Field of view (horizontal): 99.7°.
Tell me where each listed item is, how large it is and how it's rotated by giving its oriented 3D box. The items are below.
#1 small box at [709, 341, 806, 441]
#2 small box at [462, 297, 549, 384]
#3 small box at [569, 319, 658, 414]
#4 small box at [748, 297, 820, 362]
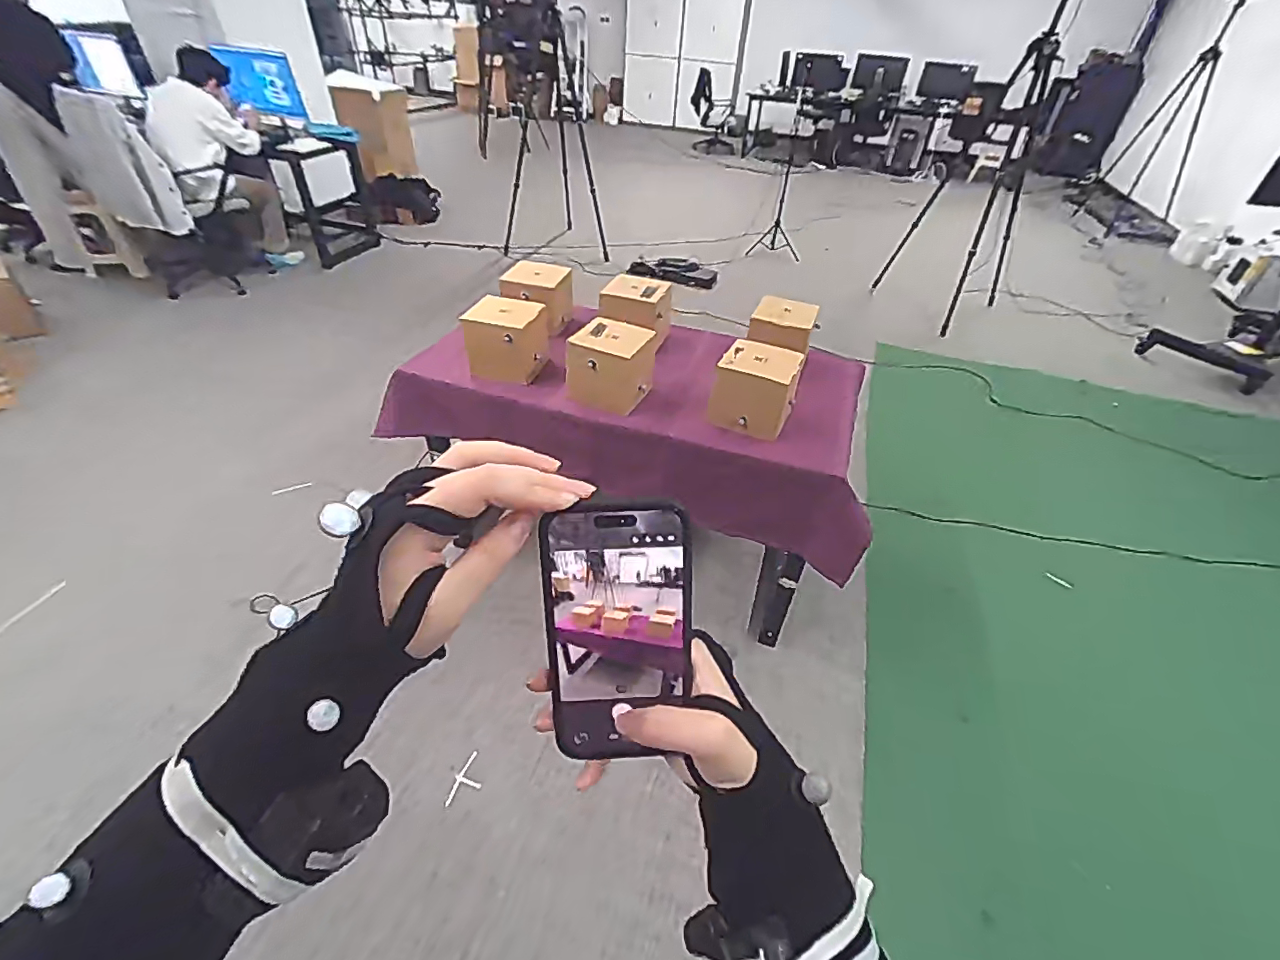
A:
[{"bbox_3d":[0.290,-0.220,1.349,0.179,0.176,0.168,20,43,17],"label":"small box"},{"bbox_3d":[-0.360,-0.381,1.483,0.179,0.176,0.168,12,41,7],"label":"small box"},{"bbox_3d":[-0.070,-0.294,1.405,0.179,0.176,0.168,20,43,16],"label":"small box"},{"bbox_3d":[0.408,-0.406,1.573,0.168,0.176,0.179,17,43,15],"label":"small box"}]
